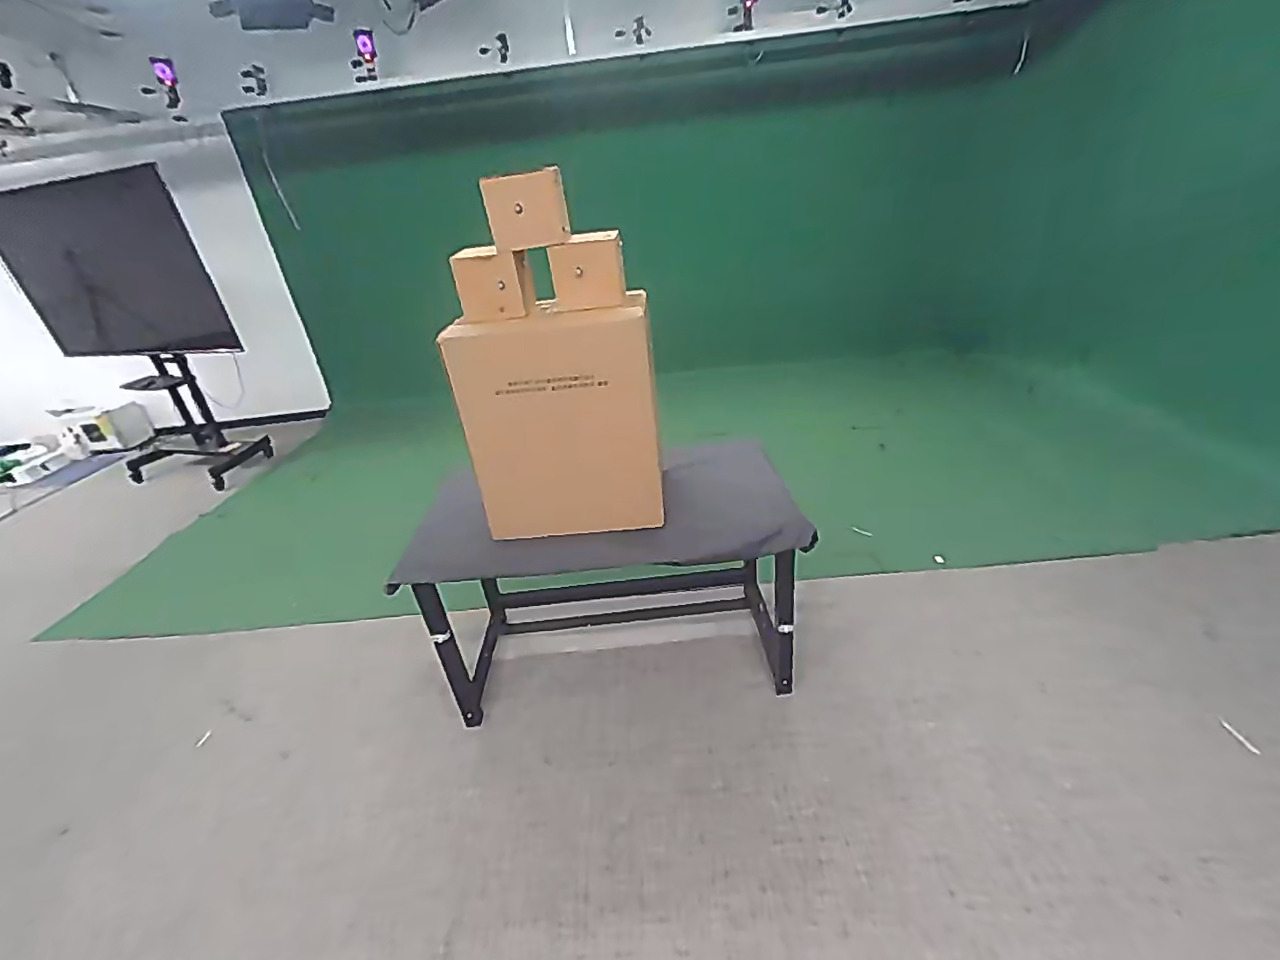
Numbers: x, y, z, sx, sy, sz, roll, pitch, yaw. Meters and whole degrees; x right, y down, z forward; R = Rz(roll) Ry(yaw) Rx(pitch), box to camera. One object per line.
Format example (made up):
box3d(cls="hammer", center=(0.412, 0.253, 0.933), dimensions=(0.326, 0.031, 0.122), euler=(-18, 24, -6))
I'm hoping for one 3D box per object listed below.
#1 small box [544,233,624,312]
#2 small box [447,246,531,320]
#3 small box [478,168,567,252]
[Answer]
box3d(cls="small box", center=(-0.145, -0.558, 1.456), dimensions=(0.179, 0.176, 0.168), euler=(-5, 30, 4))
box3d(cls="small box", center=(-0.400, -0.536, 1.468), dimensions=(0.168, 0.176, 0.179), euler=(-4, 28, 1))
box3d(cls="small box", center=(-0.289, -0.689, 1.380), dimensions=(0.179, 0.176, 0.168), euler=(-6, 30, 3))
